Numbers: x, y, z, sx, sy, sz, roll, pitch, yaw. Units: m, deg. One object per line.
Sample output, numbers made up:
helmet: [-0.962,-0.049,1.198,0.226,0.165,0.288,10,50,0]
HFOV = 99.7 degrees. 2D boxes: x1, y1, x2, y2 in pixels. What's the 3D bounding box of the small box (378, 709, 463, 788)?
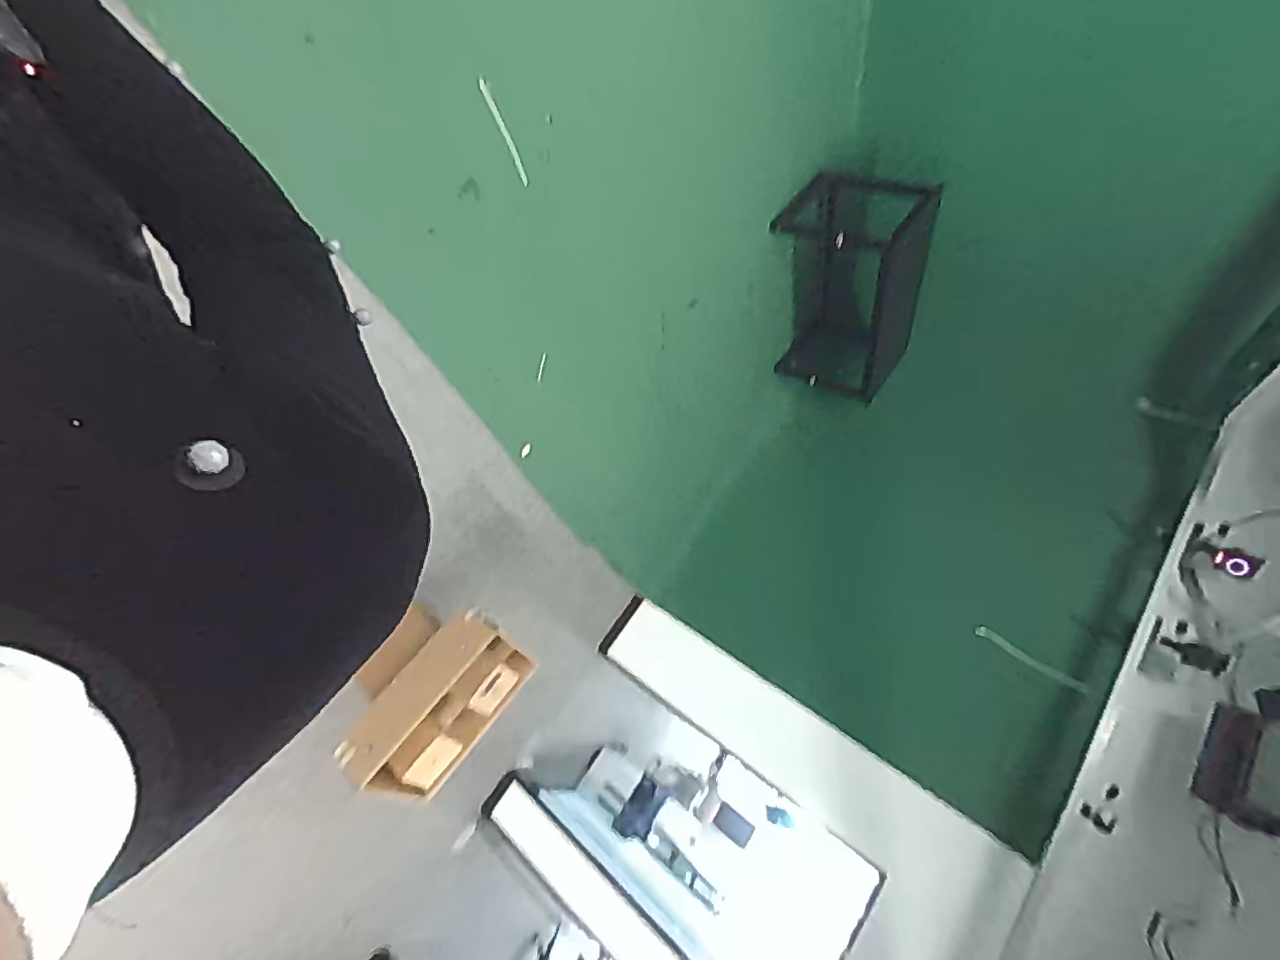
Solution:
small box: [-0.752,0.918,1.855,0.168,0.176,0.179,-48,146,-21]
